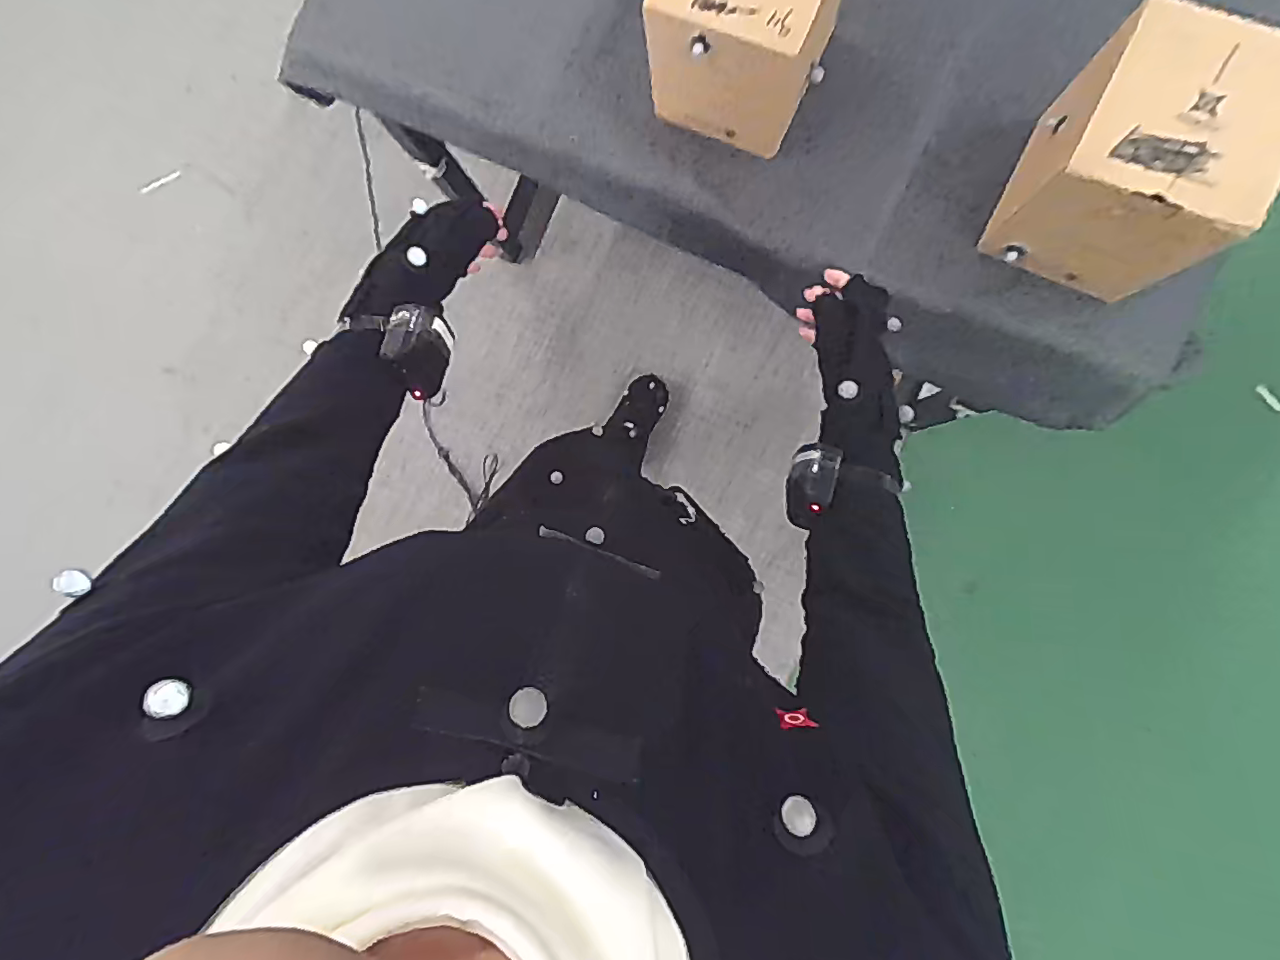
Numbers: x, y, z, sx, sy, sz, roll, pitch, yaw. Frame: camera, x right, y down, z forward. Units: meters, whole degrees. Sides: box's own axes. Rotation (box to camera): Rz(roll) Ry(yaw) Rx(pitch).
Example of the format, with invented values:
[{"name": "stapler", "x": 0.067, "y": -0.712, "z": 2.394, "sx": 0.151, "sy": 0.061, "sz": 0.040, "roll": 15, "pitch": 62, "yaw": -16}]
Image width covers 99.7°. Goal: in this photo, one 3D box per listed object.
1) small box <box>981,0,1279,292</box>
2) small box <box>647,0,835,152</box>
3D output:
[{"name": "small box", "x": 0.496, "y": -0.325, "z": 0.559, "sx": 0.168, "sy": 0.176, "sz": 0.179, "roll": 26, "pitch": 91, "yaw": 6}, {"name": "small box", "x": 0.118, "y": -0.520, "z": 0.603, "sx": 0.168, "sy": 0.176, "sz": 0.179, "roll": 25, "pitch": 91, "yaw": 6}]
